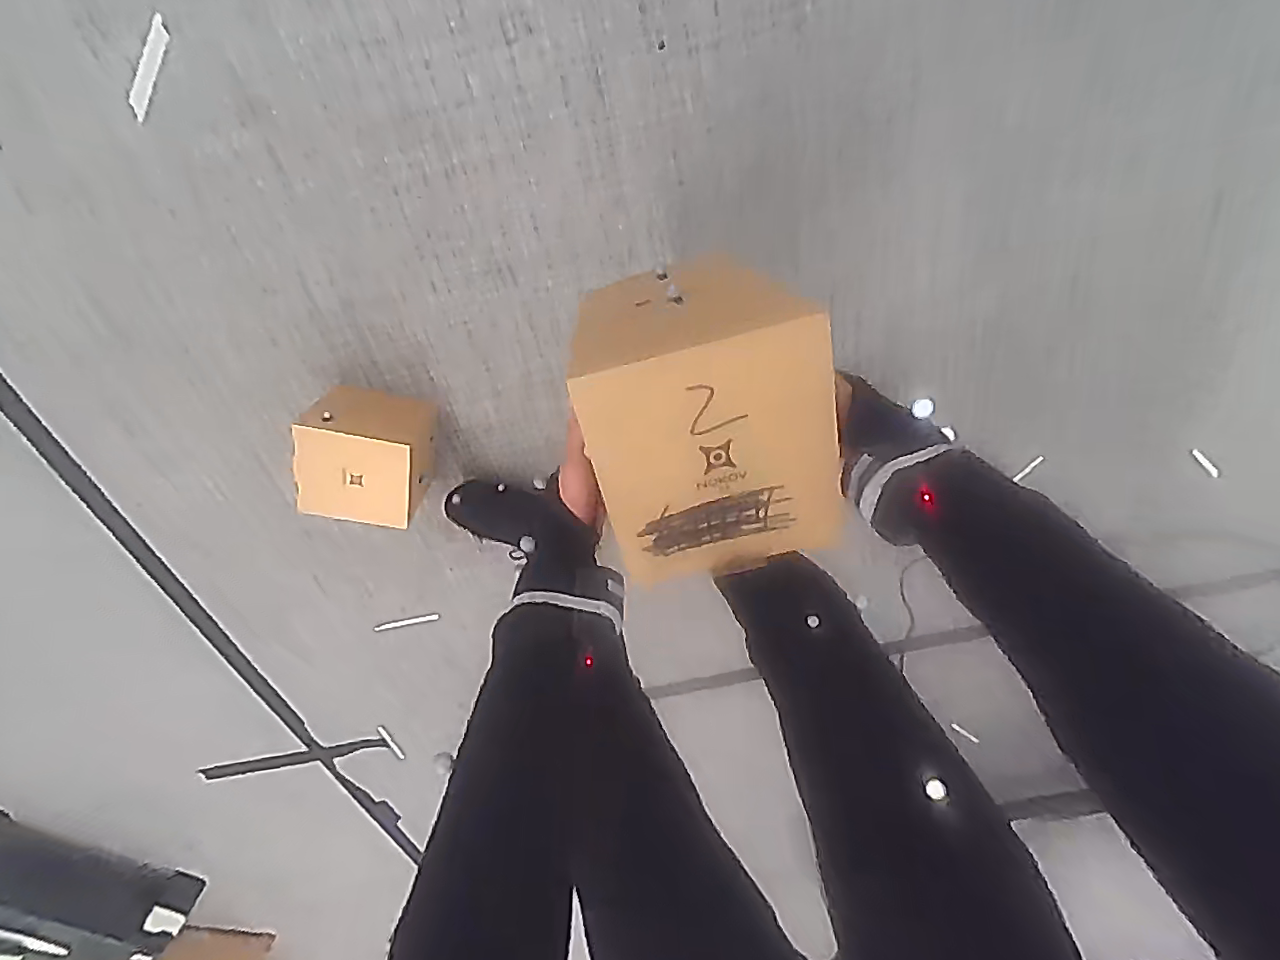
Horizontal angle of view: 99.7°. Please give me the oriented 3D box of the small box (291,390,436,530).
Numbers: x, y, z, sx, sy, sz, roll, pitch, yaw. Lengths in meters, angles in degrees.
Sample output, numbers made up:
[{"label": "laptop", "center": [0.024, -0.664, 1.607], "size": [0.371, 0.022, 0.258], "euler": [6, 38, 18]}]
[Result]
[{"label": "small box", "center": [-0.461, -0.039, 0.927], "size": [0.179, 0.176, 0.168], "euler": [10, 119, -9]}]
